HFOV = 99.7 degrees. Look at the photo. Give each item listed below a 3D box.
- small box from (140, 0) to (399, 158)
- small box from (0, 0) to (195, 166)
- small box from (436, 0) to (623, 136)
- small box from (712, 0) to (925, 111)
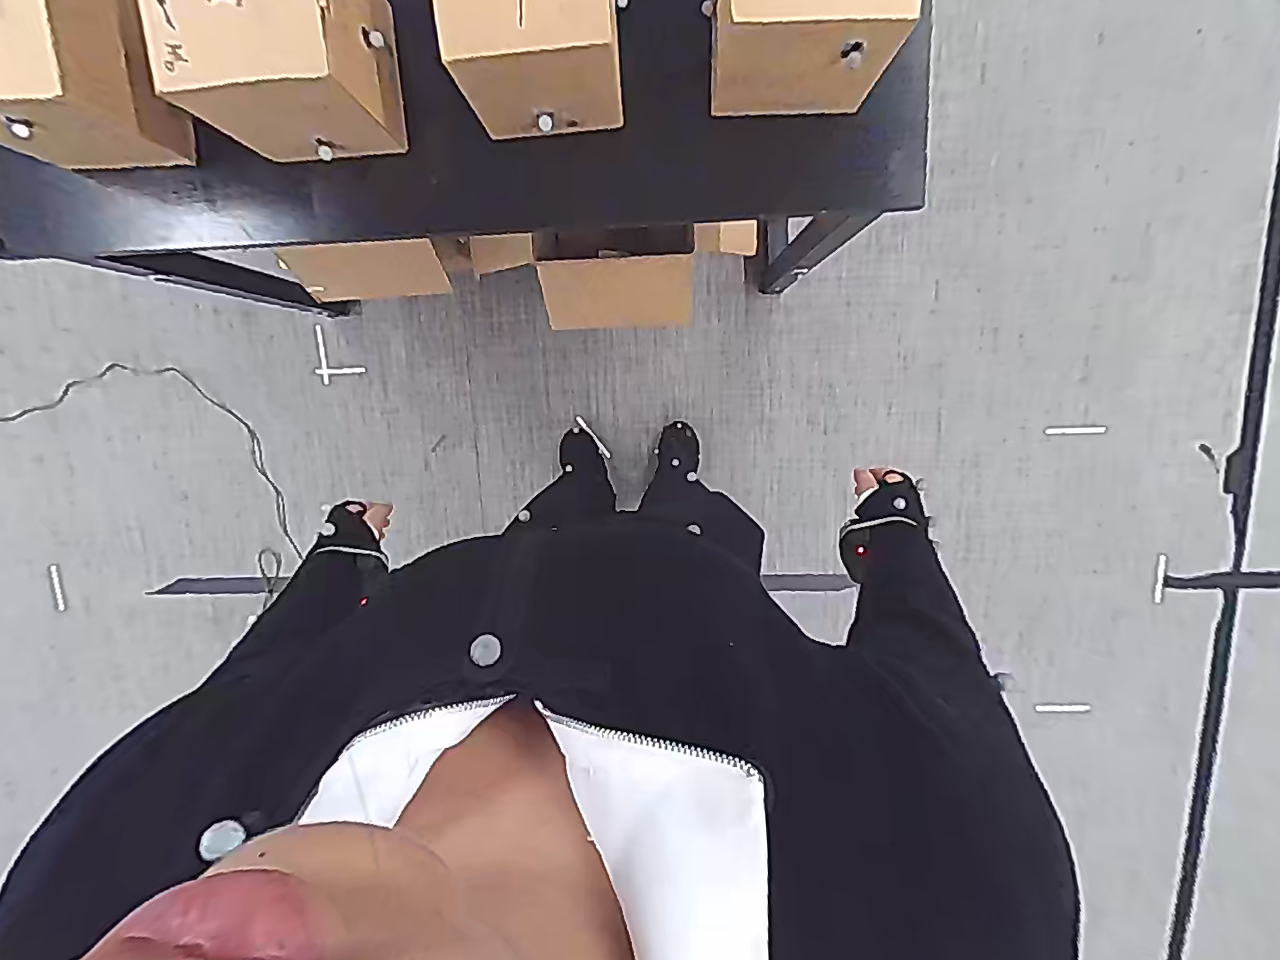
[{"bbox_3d":[-0.378,-0.469,0.578,0.179,0.176,0.168,-4,99,1],"label":"small box"},{"bbox_3d":[-0.641,-0.459,0.584,0.179,0.176,0.168,-1,100,0],"label":"small box"},{"bbox_3d":[-0.107,-0.497,0.565,0.168,0.176,0.179,-4,100,2],"label":"small box"},{"bbox_3d":[0.172,-0.509,0.555,0.179,0.176,0.168,0,98,2],"label":"small box"}]
